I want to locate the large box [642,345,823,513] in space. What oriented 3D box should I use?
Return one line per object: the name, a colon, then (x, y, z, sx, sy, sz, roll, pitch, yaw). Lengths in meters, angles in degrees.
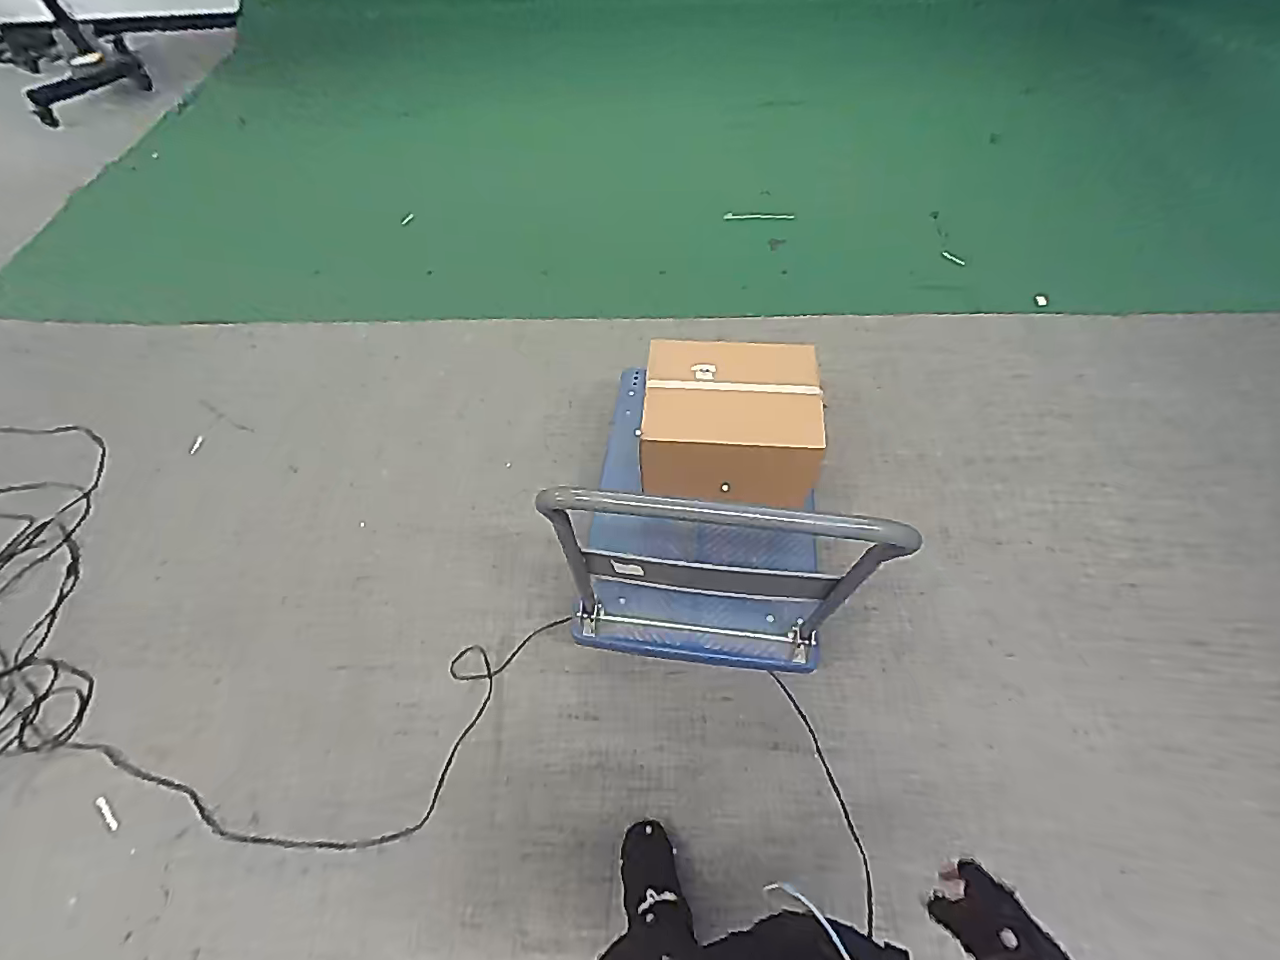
large box: (0.221, -0.125, 1.391, 0.408, 0.320, 0.320, 3, 57, 5)
